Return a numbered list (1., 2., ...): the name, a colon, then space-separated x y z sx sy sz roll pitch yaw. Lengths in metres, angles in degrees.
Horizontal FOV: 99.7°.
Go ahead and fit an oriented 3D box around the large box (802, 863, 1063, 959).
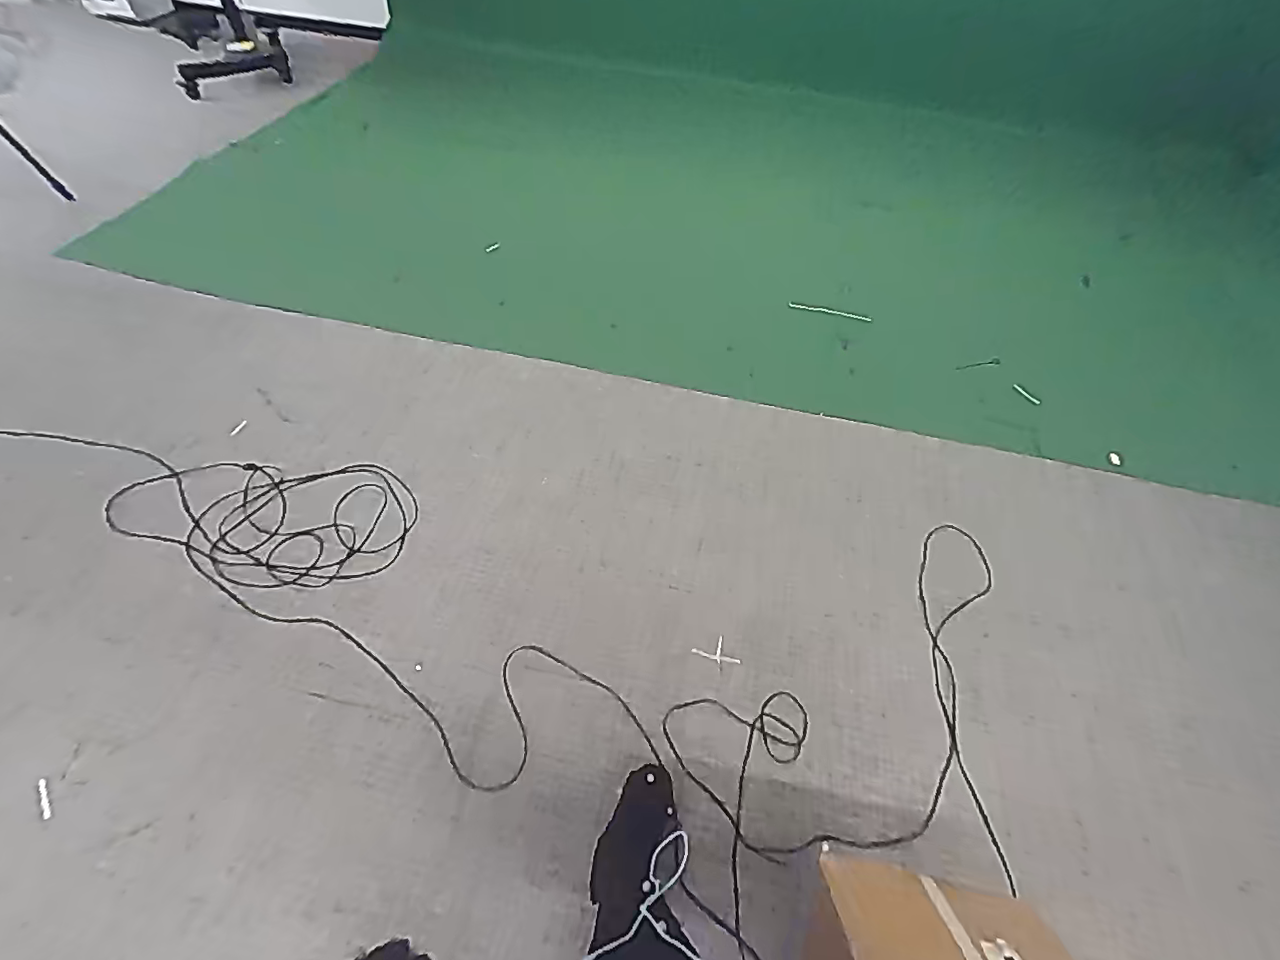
1. large box: 0.382 0.760 0.627 0.320 0.408 0.320 10 89 5
